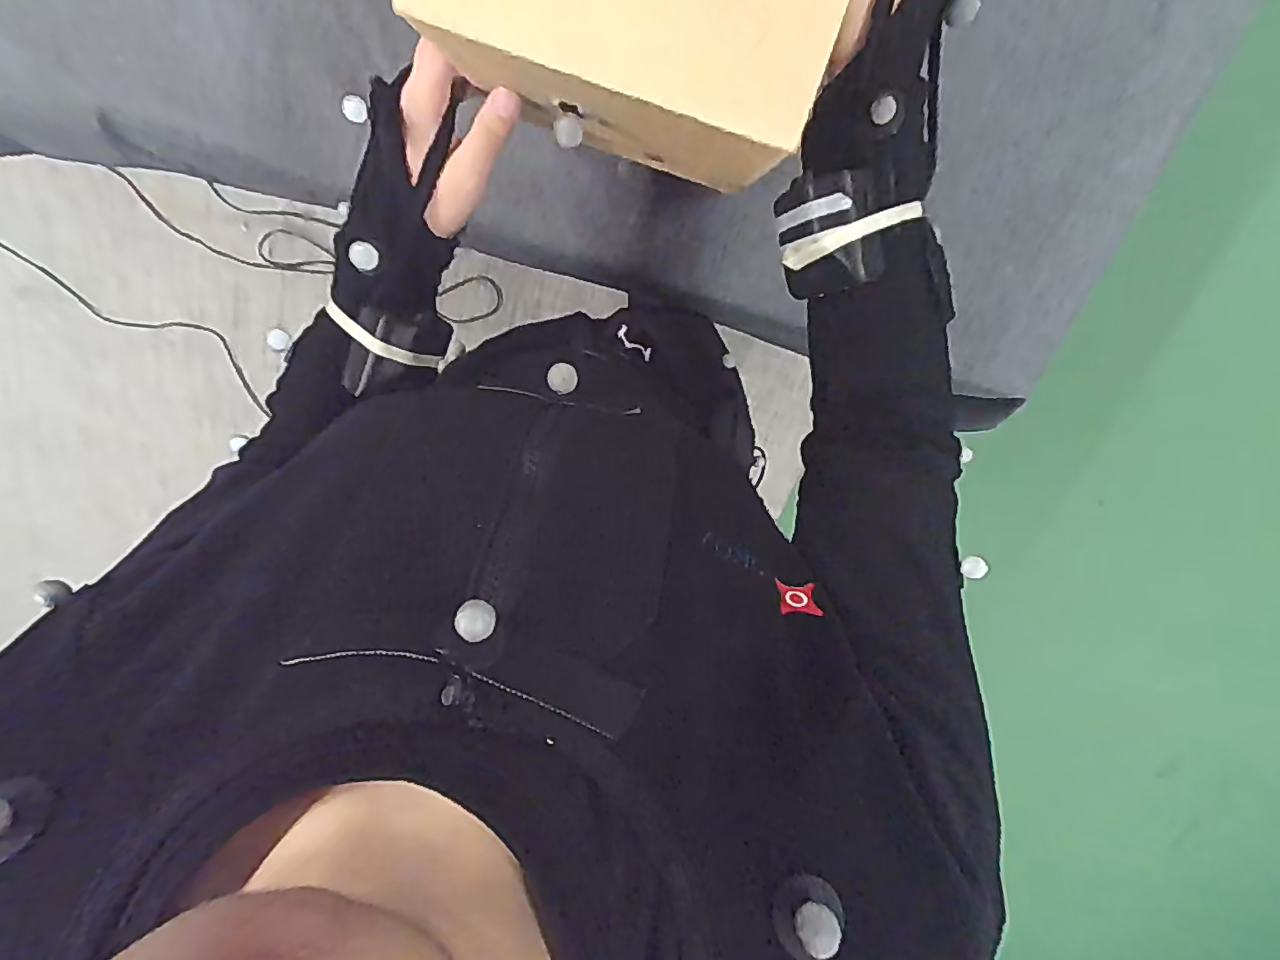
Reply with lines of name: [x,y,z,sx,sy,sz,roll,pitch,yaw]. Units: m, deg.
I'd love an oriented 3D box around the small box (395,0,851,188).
small box: [0.014,-0.257,0.249,0.168,0.176,0.179,16,111,-5]
